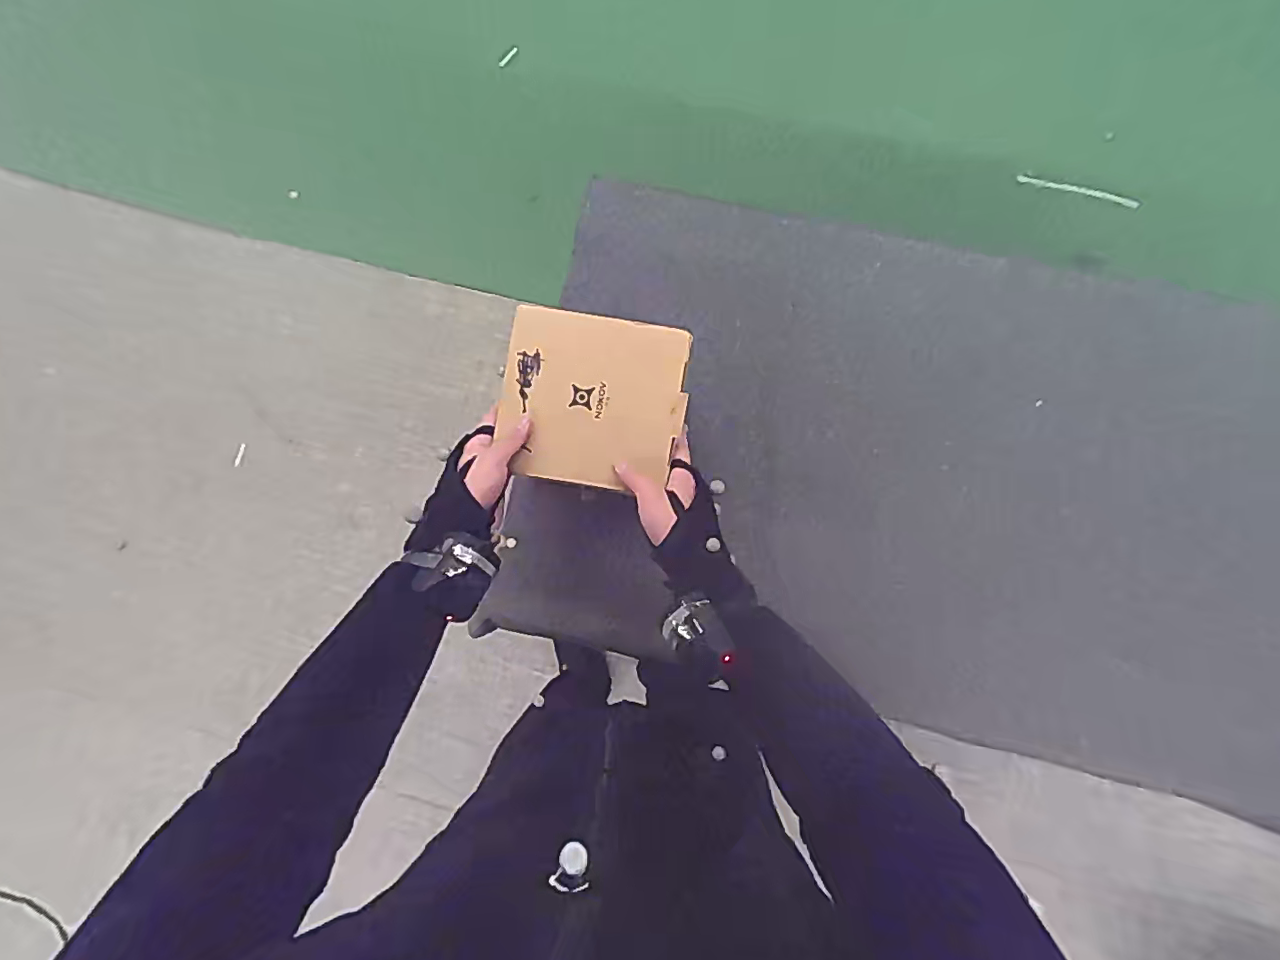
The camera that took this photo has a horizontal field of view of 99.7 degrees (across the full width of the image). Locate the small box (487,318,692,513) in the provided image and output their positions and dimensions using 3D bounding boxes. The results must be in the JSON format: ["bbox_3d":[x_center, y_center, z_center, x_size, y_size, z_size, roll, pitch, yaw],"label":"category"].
[{"bbox_3d":[-0.048,-0.059,0.599,0.179,0.176,0.168,9,87,1],"label":"small box"}]
